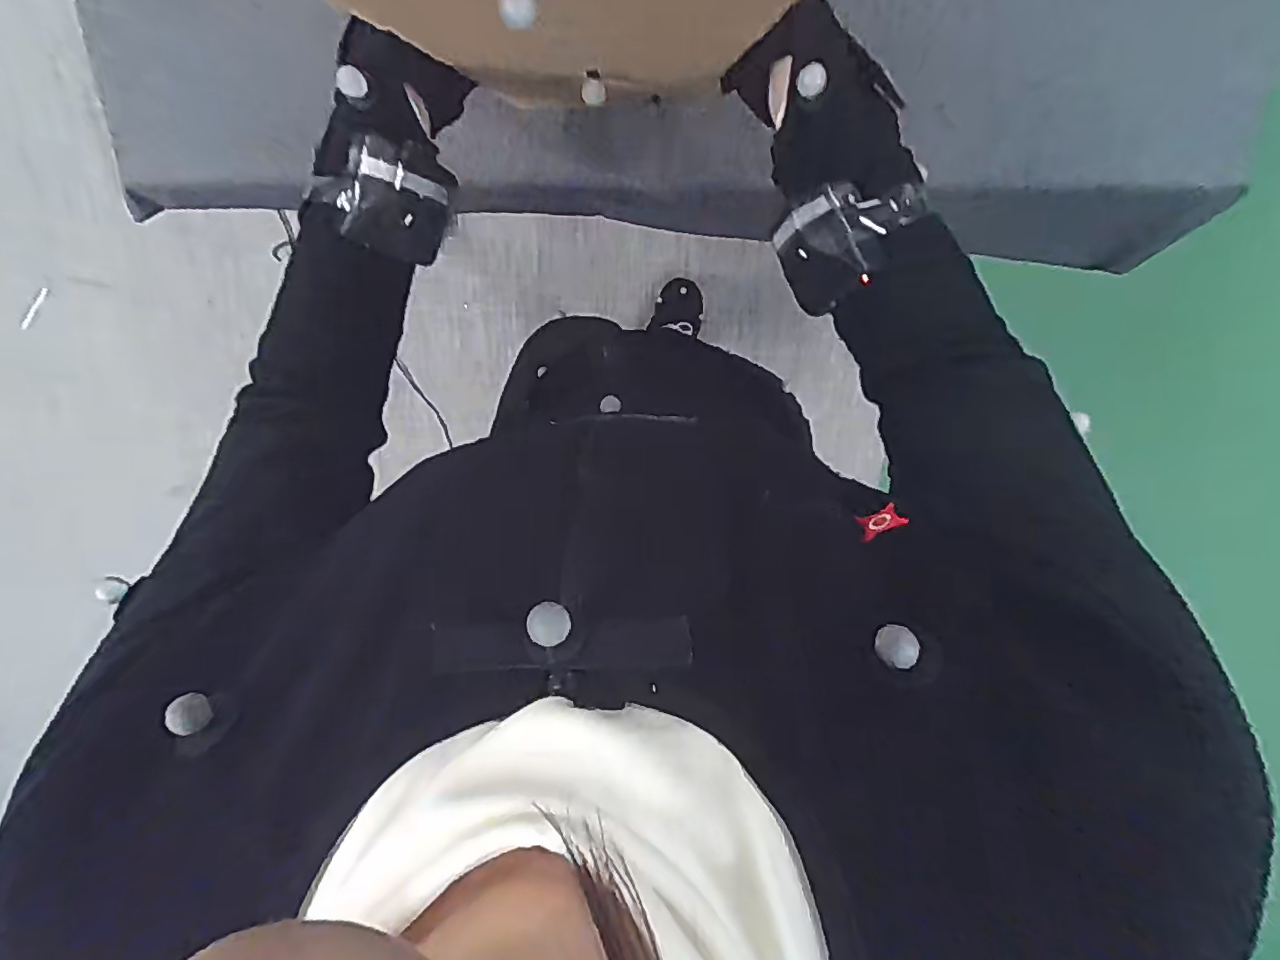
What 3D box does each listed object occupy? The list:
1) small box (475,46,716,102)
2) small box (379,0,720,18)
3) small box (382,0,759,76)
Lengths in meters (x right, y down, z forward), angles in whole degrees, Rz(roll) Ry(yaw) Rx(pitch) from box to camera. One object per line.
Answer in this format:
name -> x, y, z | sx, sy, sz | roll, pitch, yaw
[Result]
small box -> -0.034, -0.404, 0.419 | 0.179, 0.176, 0.168 | -1, 119, 2
small box -> -0.034, -0.241, 0.134 | 0.179, 0.176, 0.168 | 1, 120, 0
small box -> -0.035, -0.323, 0.278 | 0.179, 0.176, 0.168 | -2, 120, 2
